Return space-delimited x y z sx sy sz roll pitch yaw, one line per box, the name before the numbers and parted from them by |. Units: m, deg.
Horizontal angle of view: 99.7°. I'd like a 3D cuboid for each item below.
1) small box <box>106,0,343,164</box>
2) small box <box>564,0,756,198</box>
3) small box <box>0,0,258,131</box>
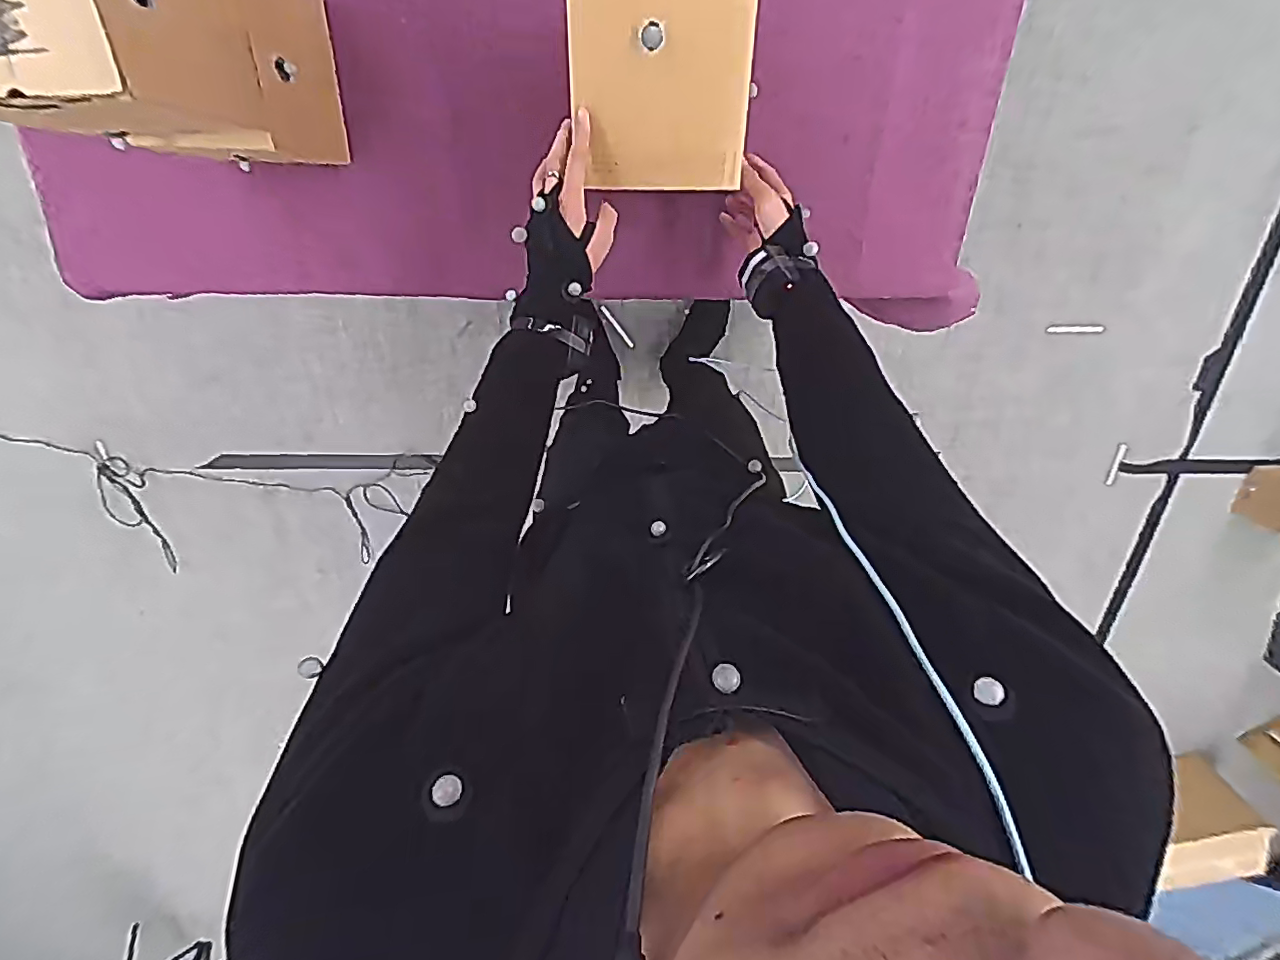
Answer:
small box | -0.448 -0.448 0.580 0.168 0.176 0.179 2 116 -2
small box | 0.019 -0.412 0.590 0.179 0.168 0.176 0 122 1
small box | -0.451 -0.387 0.427 0.168 0.176 0.179 -2 115 0
